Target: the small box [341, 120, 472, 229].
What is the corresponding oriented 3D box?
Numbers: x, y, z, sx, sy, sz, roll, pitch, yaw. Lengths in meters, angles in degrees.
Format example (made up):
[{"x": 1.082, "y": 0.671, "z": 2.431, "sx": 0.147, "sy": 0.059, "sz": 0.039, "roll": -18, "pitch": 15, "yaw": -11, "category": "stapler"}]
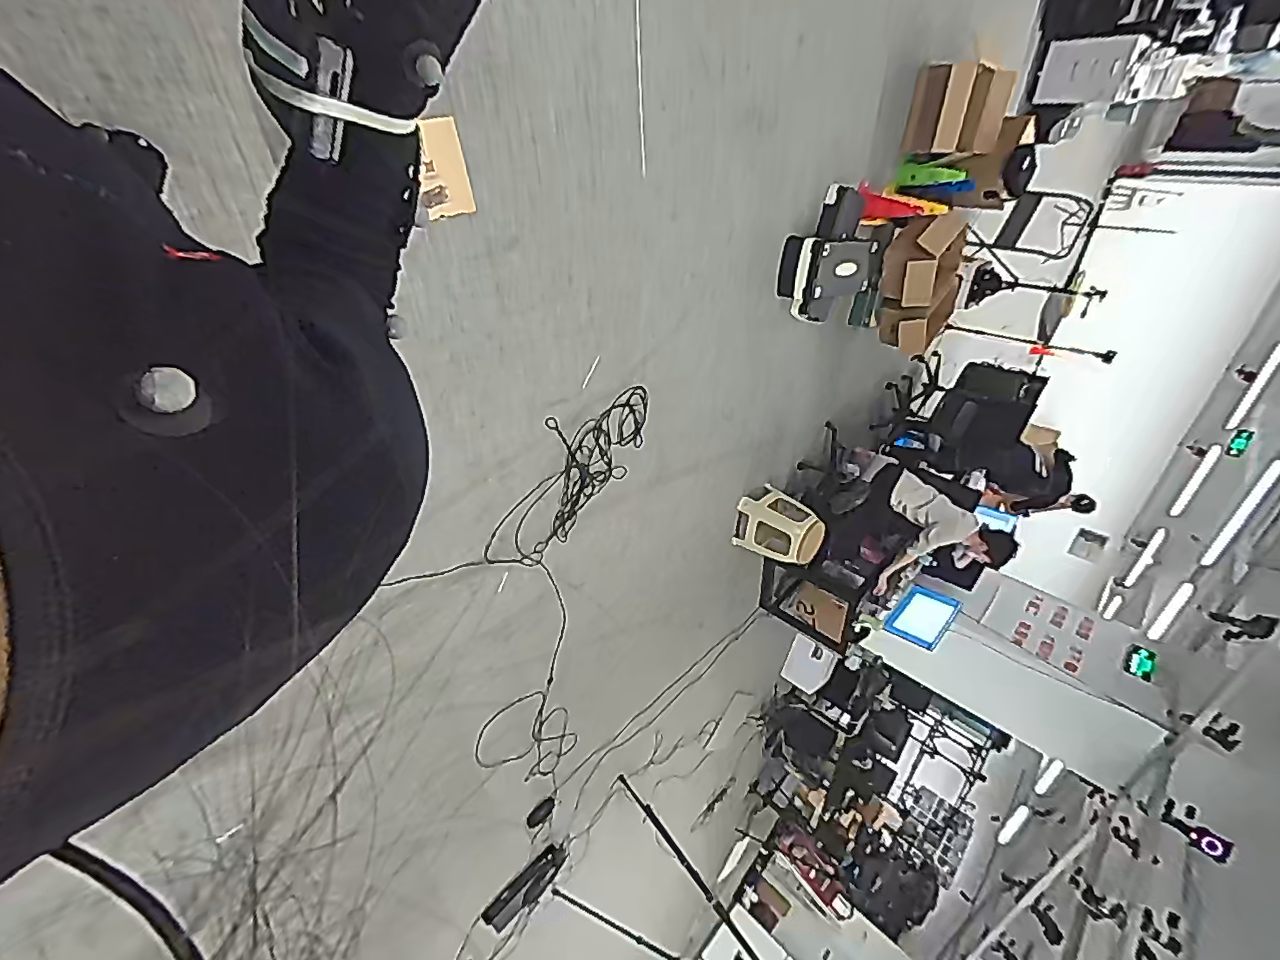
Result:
[{"x": -0.482, "y": -0.637, "z": 1.123, "sx": 0.168, "sy": 0.176, "sz": 0.179, "roll": -34, "pitch": 134, "yaw": -34, "category": "small box"}]
